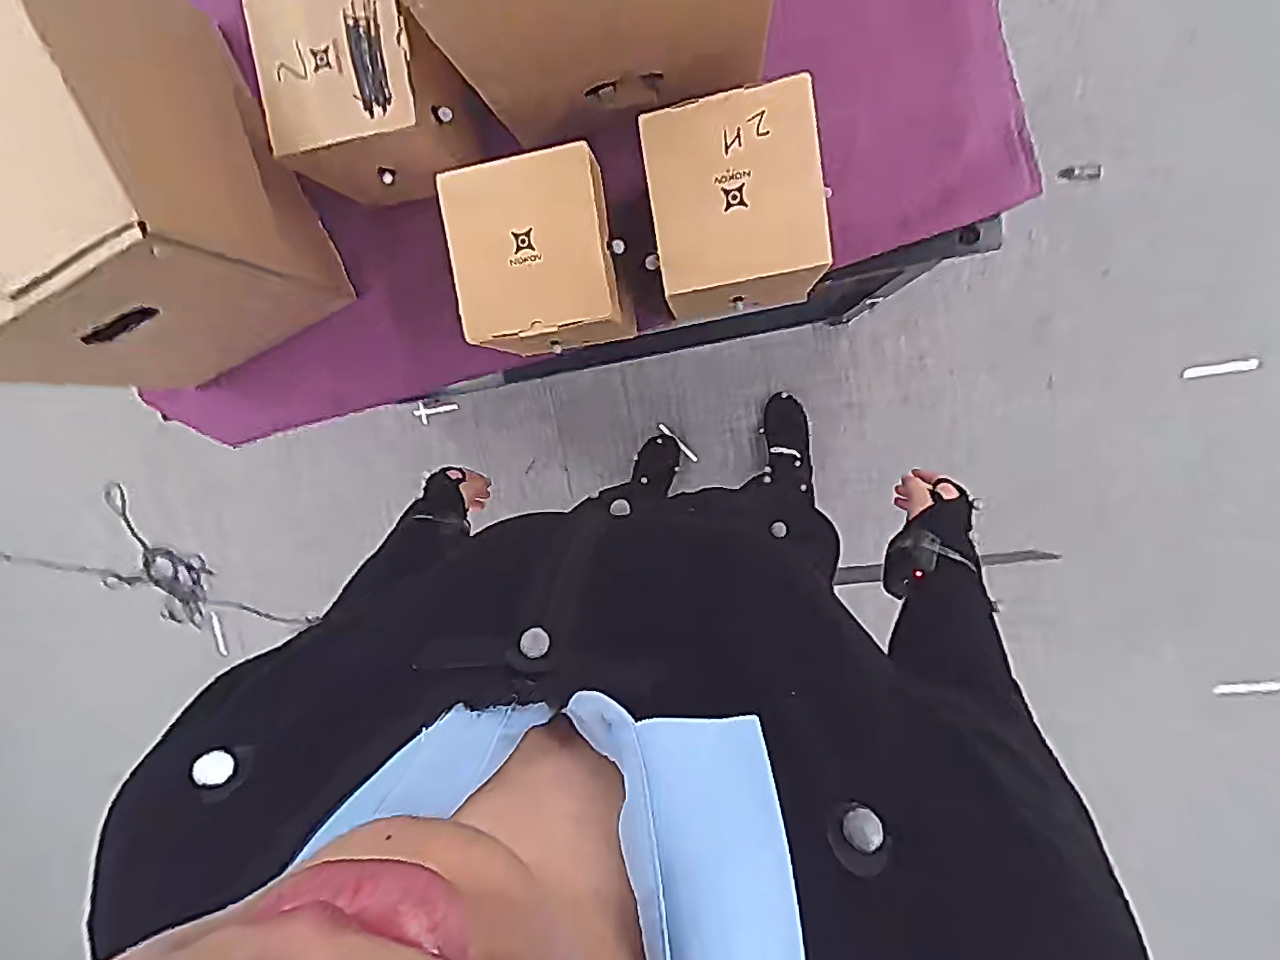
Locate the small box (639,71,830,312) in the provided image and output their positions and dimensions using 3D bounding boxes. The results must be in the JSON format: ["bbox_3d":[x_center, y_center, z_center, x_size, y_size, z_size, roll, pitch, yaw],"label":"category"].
[{"bbox_3d":[0.102,-0.292,0.596,0.168,0.176,0.179,-8,96,9],"label":"small box"}]
